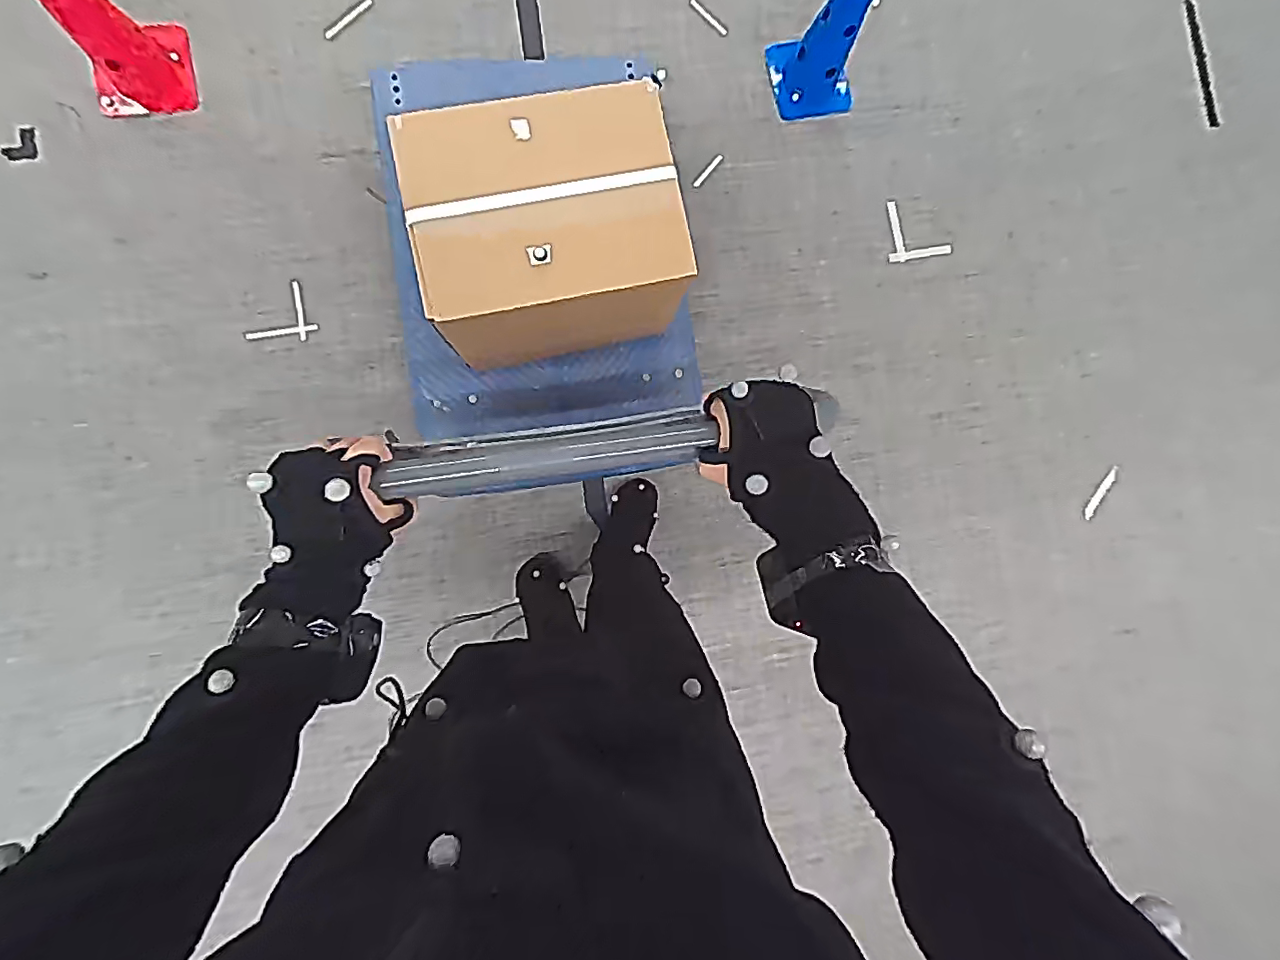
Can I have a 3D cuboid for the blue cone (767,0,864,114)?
[{"bbox_3d":[0.445,-1.035,1.208,0.193,0.380,0.192,-13,88,-7],"label":"blue cone"}]
